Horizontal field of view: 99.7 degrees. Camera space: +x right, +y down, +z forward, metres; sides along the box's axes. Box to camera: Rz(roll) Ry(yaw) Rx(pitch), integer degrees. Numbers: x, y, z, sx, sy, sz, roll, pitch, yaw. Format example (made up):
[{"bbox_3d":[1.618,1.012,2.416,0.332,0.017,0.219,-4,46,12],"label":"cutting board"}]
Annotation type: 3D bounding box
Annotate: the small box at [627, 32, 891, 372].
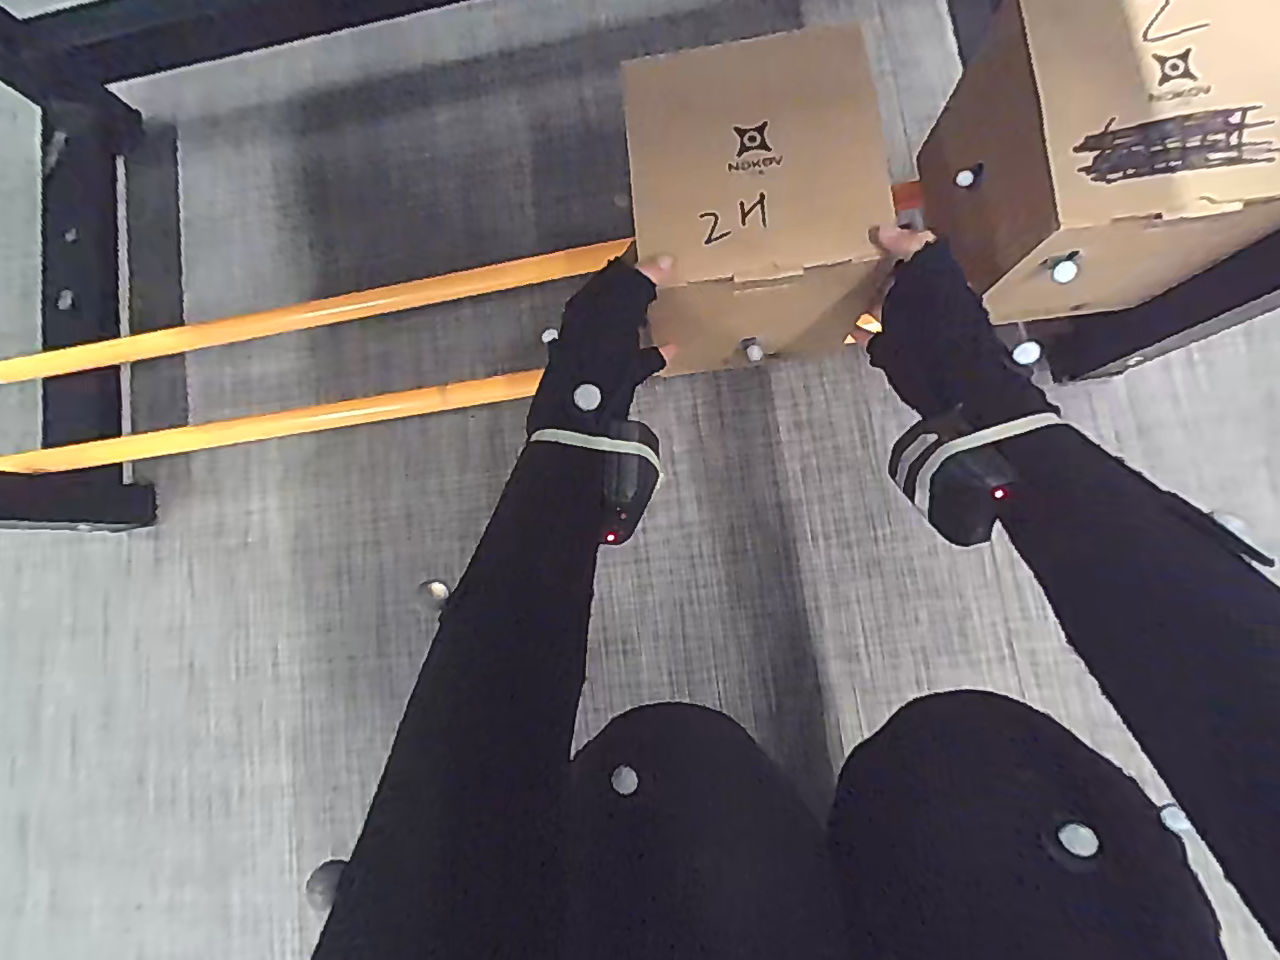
[{"bbox_3d":[0.084,-0.207,0.447,0.168,0.176,0.179,-6,80,6],"label":"small box"}]
